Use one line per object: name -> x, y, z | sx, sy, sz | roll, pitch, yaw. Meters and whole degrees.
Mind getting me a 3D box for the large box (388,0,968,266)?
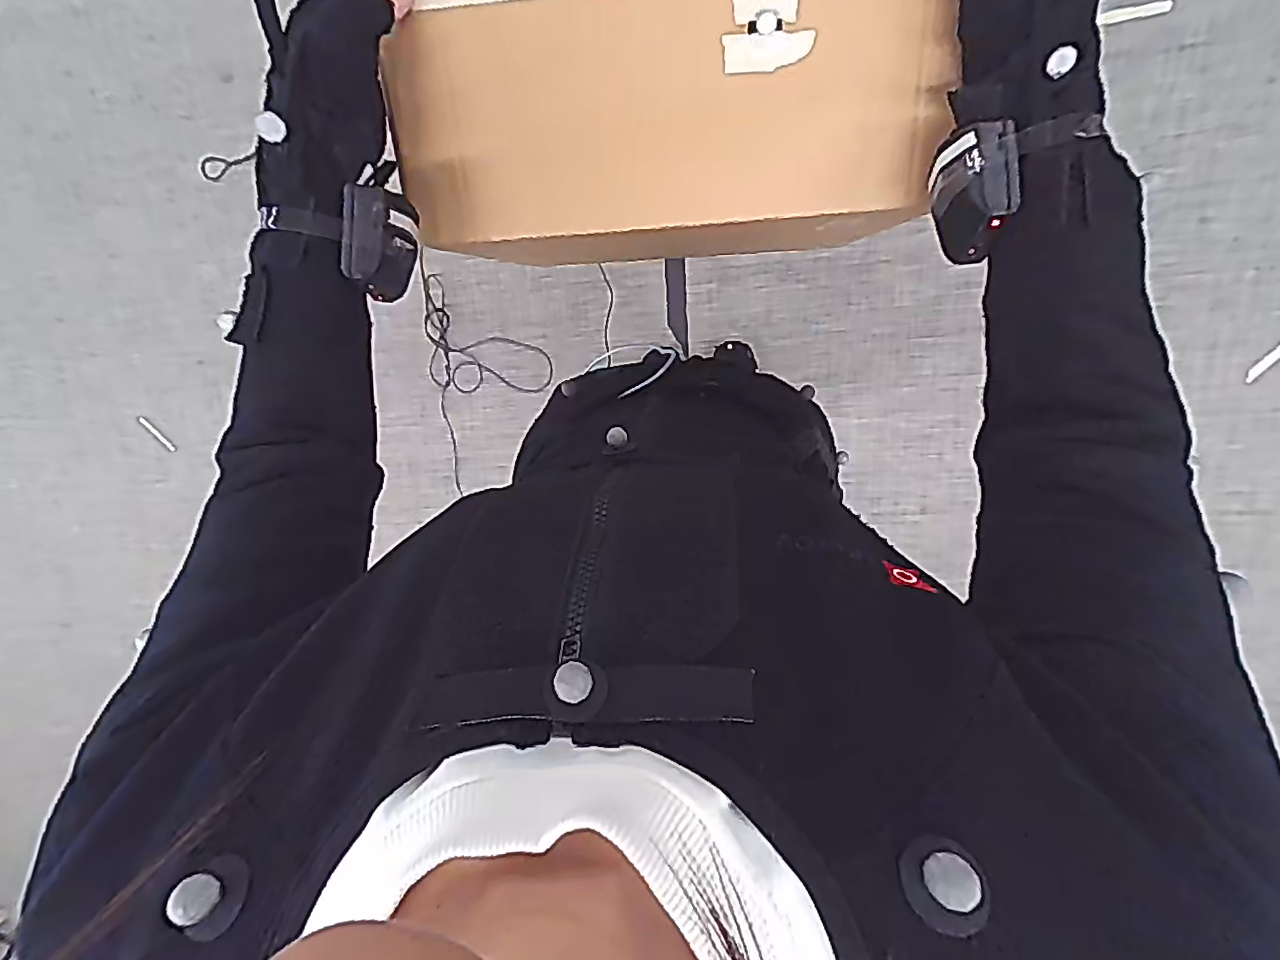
large box -> 0.028, -0.391, 0.504 | 0.408, 0.320, 0.320 | -2, 109, 6
